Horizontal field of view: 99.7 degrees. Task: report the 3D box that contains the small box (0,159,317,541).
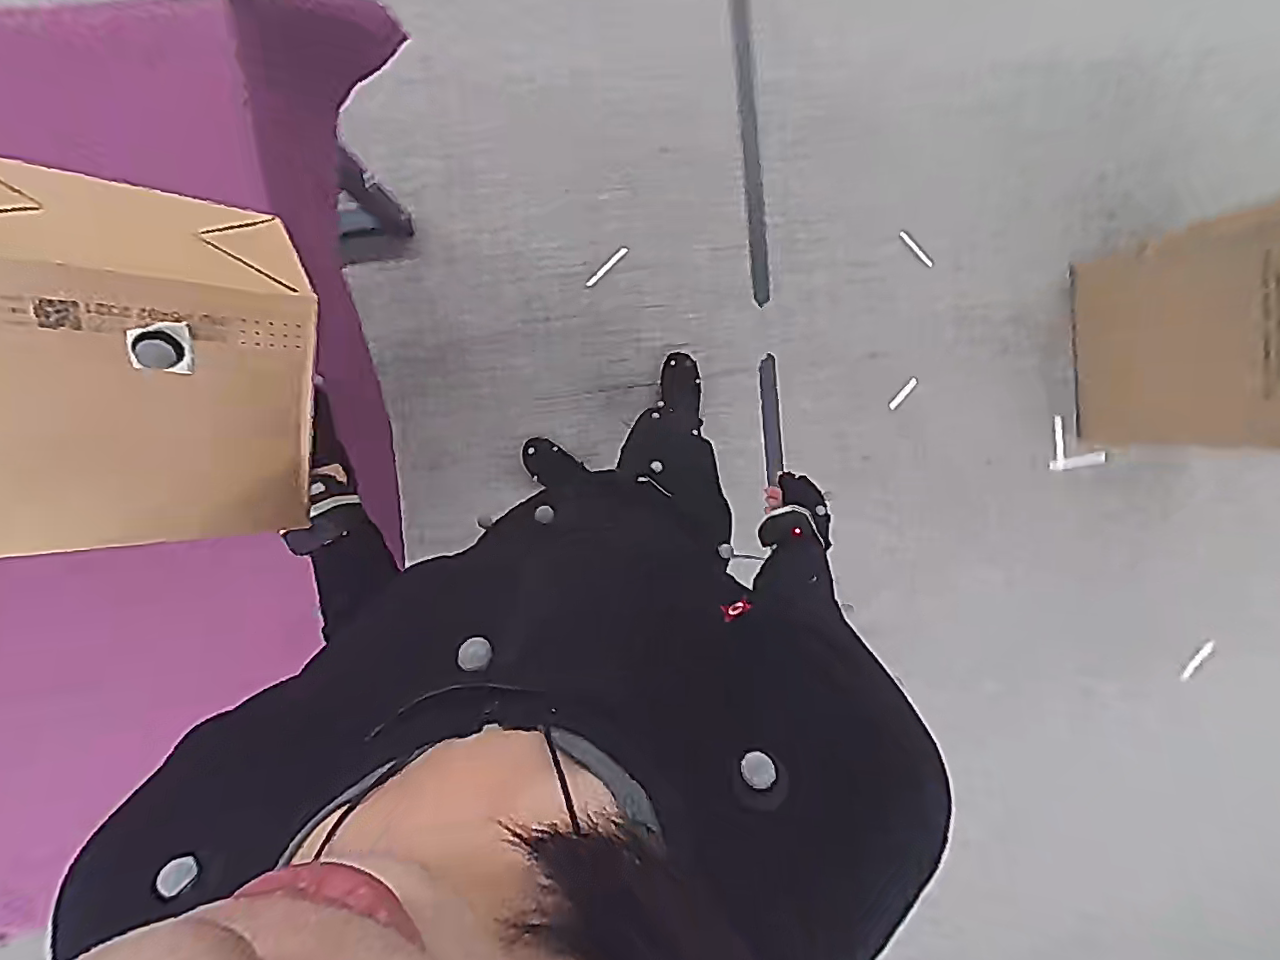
[{"bbox_3d":[-0.309,-0.086,0.339,0.168,0.179,0.176,-4,126,-37],"label":"small box"}]
